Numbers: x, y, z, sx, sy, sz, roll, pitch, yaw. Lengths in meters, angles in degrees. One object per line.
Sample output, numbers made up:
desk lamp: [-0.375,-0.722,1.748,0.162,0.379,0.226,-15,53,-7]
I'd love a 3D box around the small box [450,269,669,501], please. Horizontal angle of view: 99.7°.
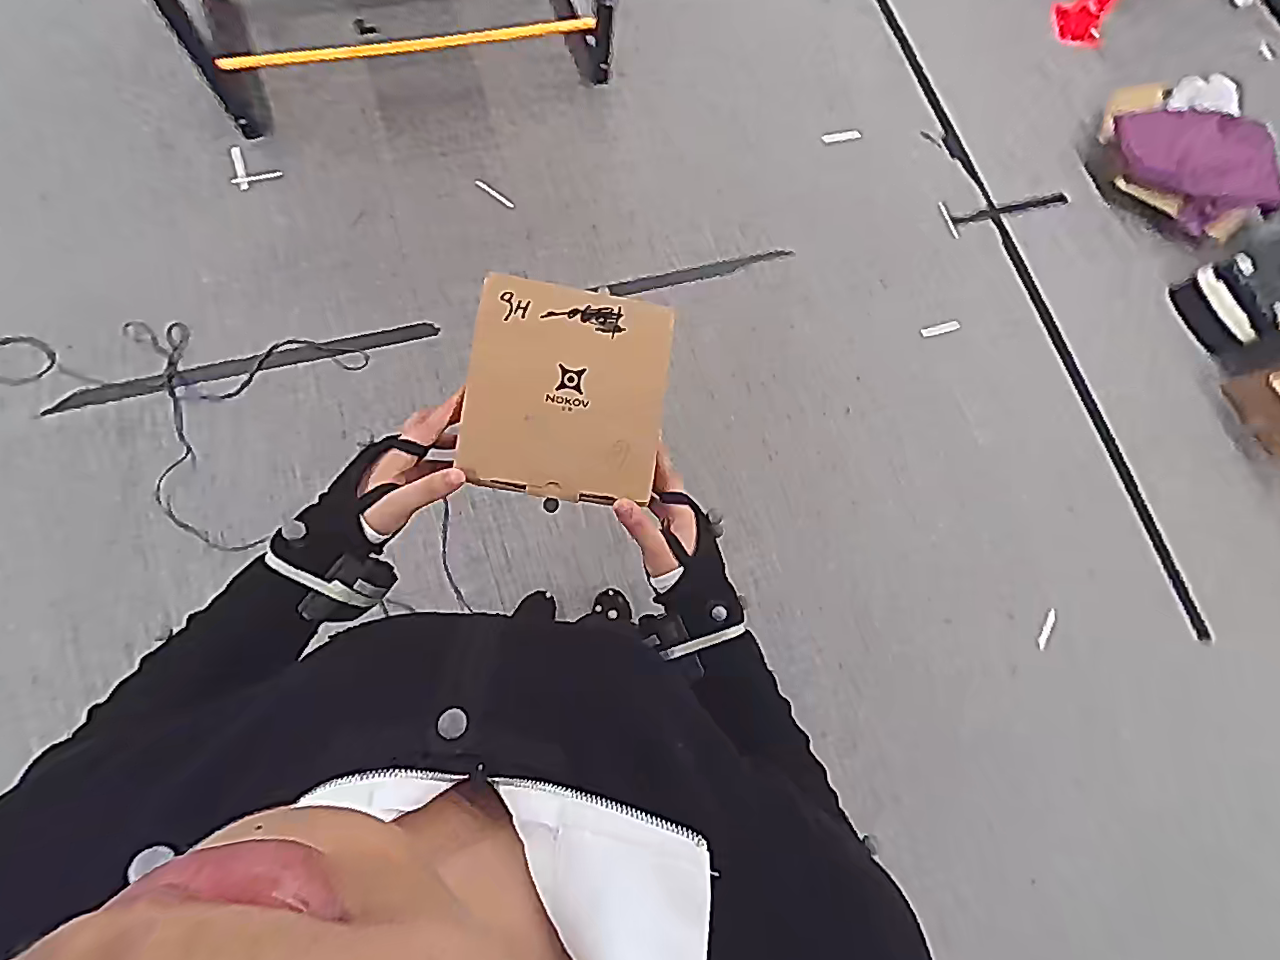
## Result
small box: [-0.075,-0.076,0.531,0.168,0.176,0.179,7,87,-8]
